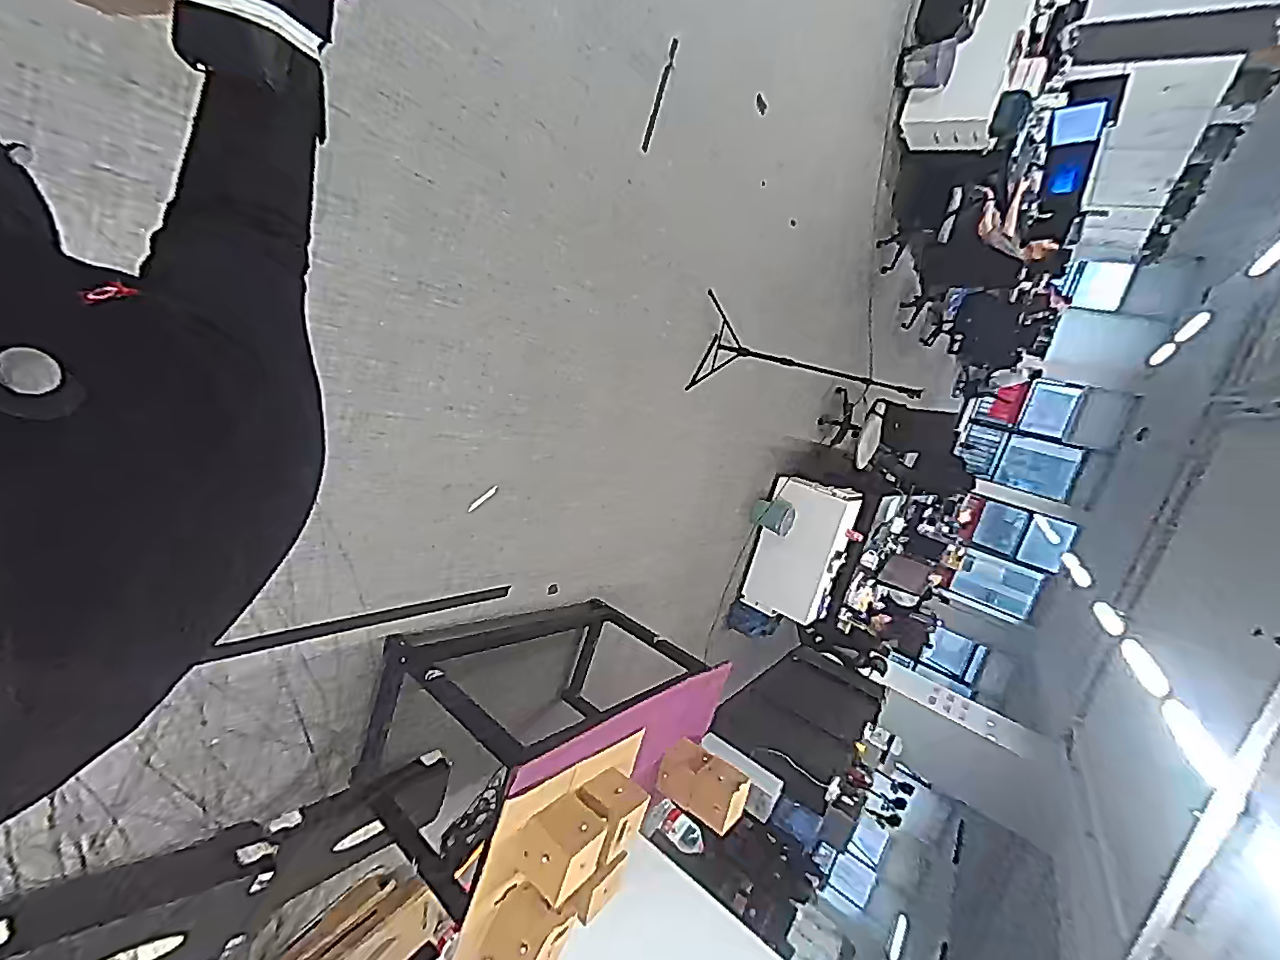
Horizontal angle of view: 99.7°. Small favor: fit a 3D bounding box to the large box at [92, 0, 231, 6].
[{"bbox_3d":[-0.456,-0.513,0.239,0.408,0.320,0.320,-4,120,-56],"label":"large box"}]
